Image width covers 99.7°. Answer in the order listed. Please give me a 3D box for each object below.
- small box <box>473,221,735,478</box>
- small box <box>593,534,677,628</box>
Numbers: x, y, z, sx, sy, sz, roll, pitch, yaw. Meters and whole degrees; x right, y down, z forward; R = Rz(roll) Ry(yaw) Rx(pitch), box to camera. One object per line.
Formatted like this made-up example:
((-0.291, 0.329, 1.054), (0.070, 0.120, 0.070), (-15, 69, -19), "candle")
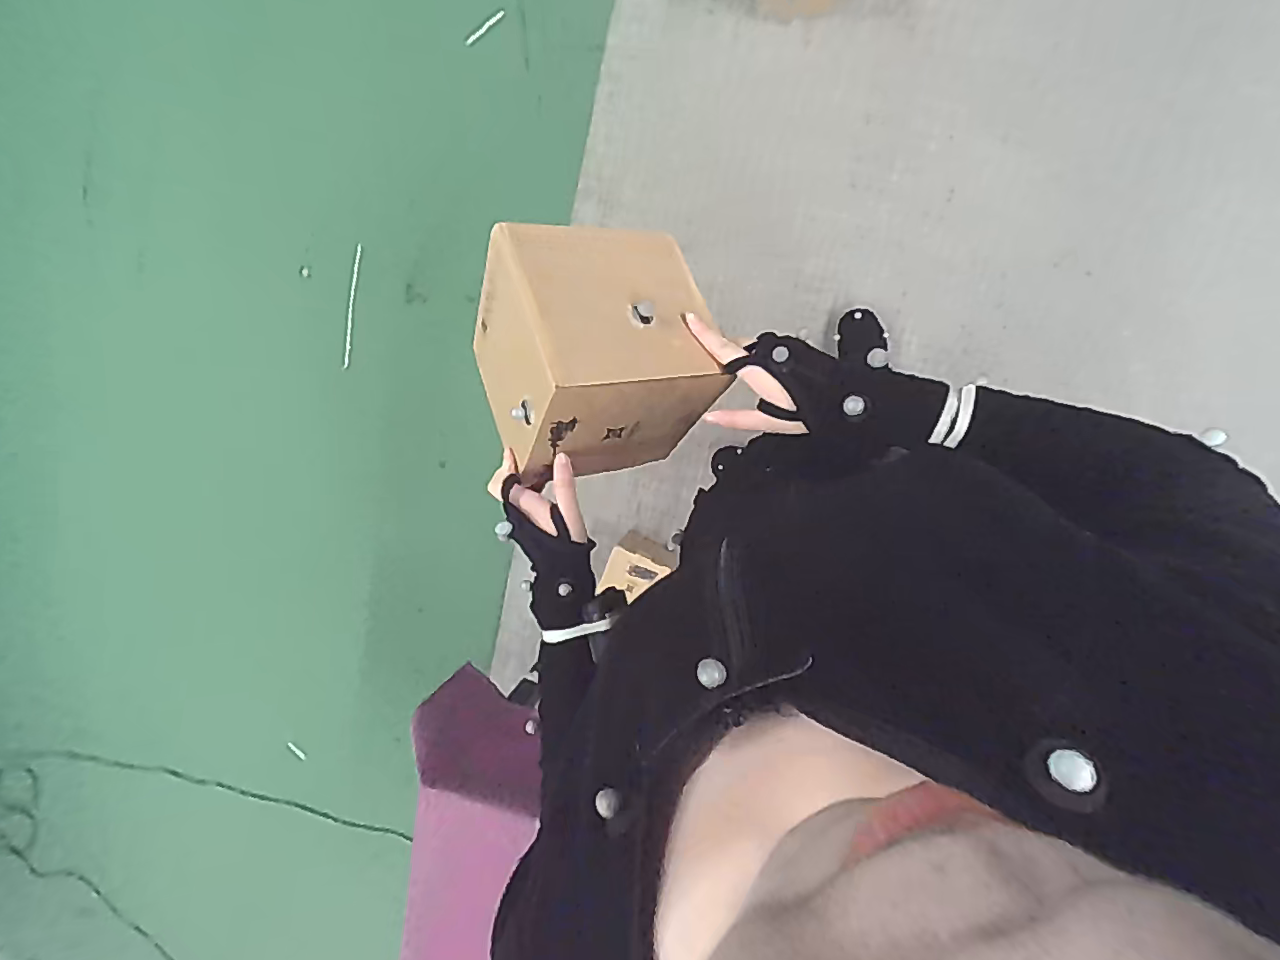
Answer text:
((-0.046, -0.124, 0.522), (0.168, 0.179, 0.176), (-51, 55, 55), "small box")
((-0.006, 0.269, 1.490), (0.168, 0.176, 0.179), (23, 103, 9), "small box")
